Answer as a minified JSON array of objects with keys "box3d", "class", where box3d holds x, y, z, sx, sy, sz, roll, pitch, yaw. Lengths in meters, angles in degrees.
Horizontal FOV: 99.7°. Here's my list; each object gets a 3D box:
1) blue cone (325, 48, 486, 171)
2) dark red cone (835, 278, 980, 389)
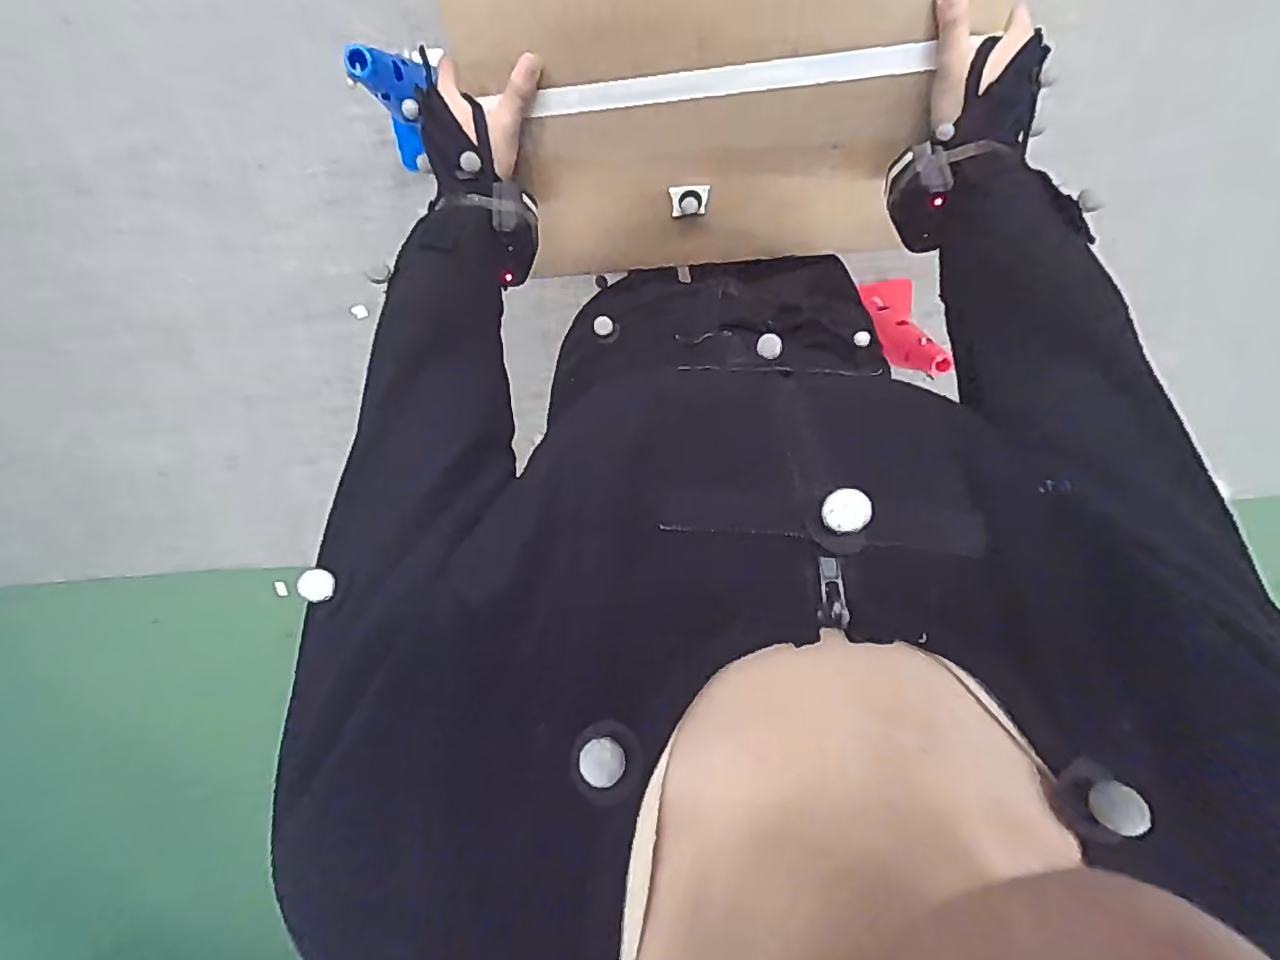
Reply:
[{"box3d":[-0.412,-0.664,0.926,0.192,0.380,0.193,-3,114,3],"class":"blue cone"},{"box3d":[0.535,-0.257,1.060,0.202,0.394,0.201,-11,117,5],"class":"dark red cone"}]
